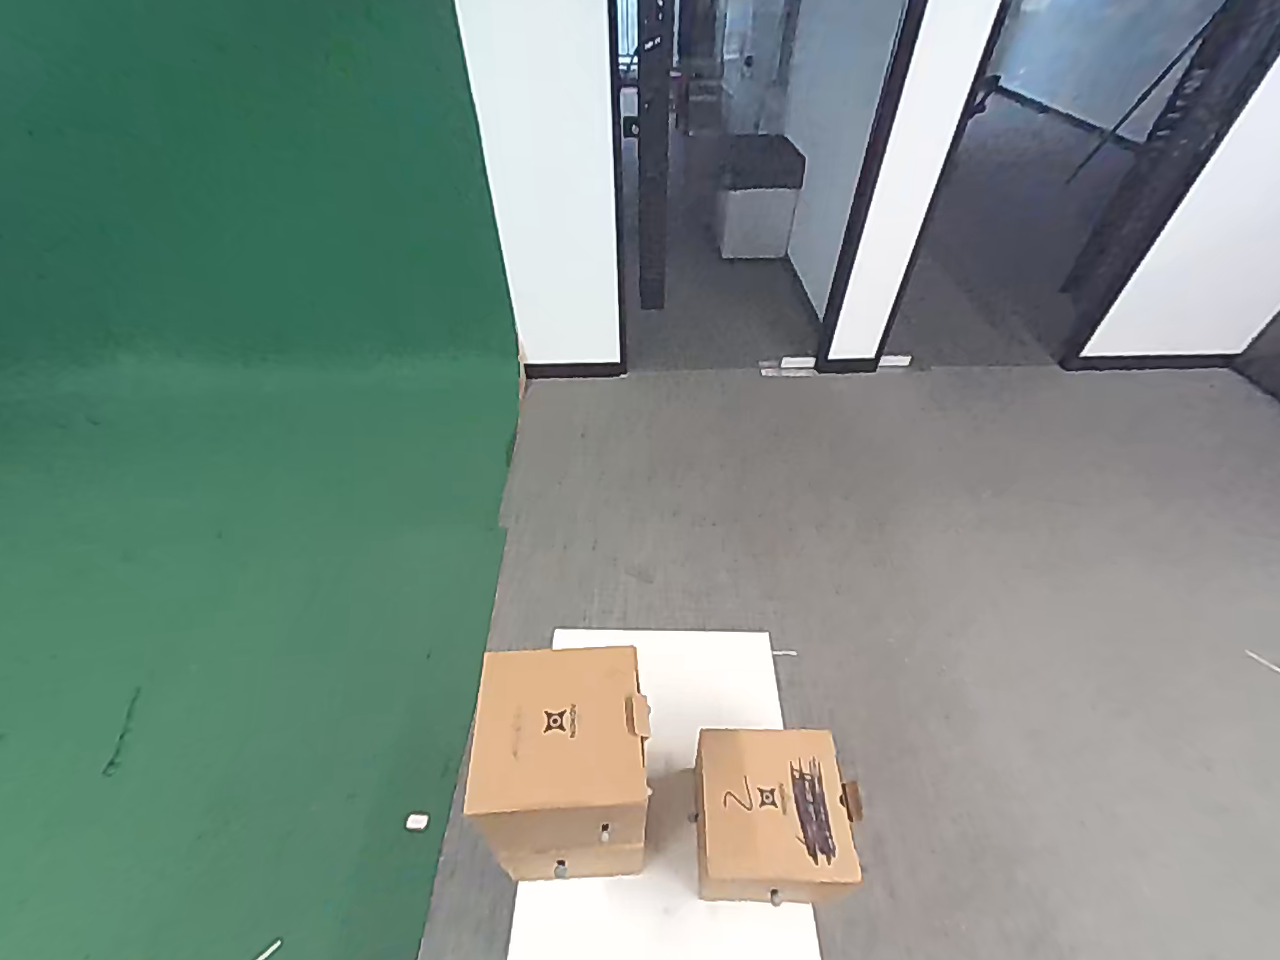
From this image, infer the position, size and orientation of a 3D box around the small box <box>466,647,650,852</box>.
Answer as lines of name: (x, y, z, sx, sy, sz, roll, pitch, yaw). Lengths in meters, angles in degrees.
small box: (-0.085, 0.311, 0.624, 0.179, 0.176, 0.168, -2, 45, -4)

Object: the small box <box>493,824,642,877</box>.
small box: (-0.087, 0.427, 0.739, 0.179, 0.176, 0.168, -2, 46, -2)
